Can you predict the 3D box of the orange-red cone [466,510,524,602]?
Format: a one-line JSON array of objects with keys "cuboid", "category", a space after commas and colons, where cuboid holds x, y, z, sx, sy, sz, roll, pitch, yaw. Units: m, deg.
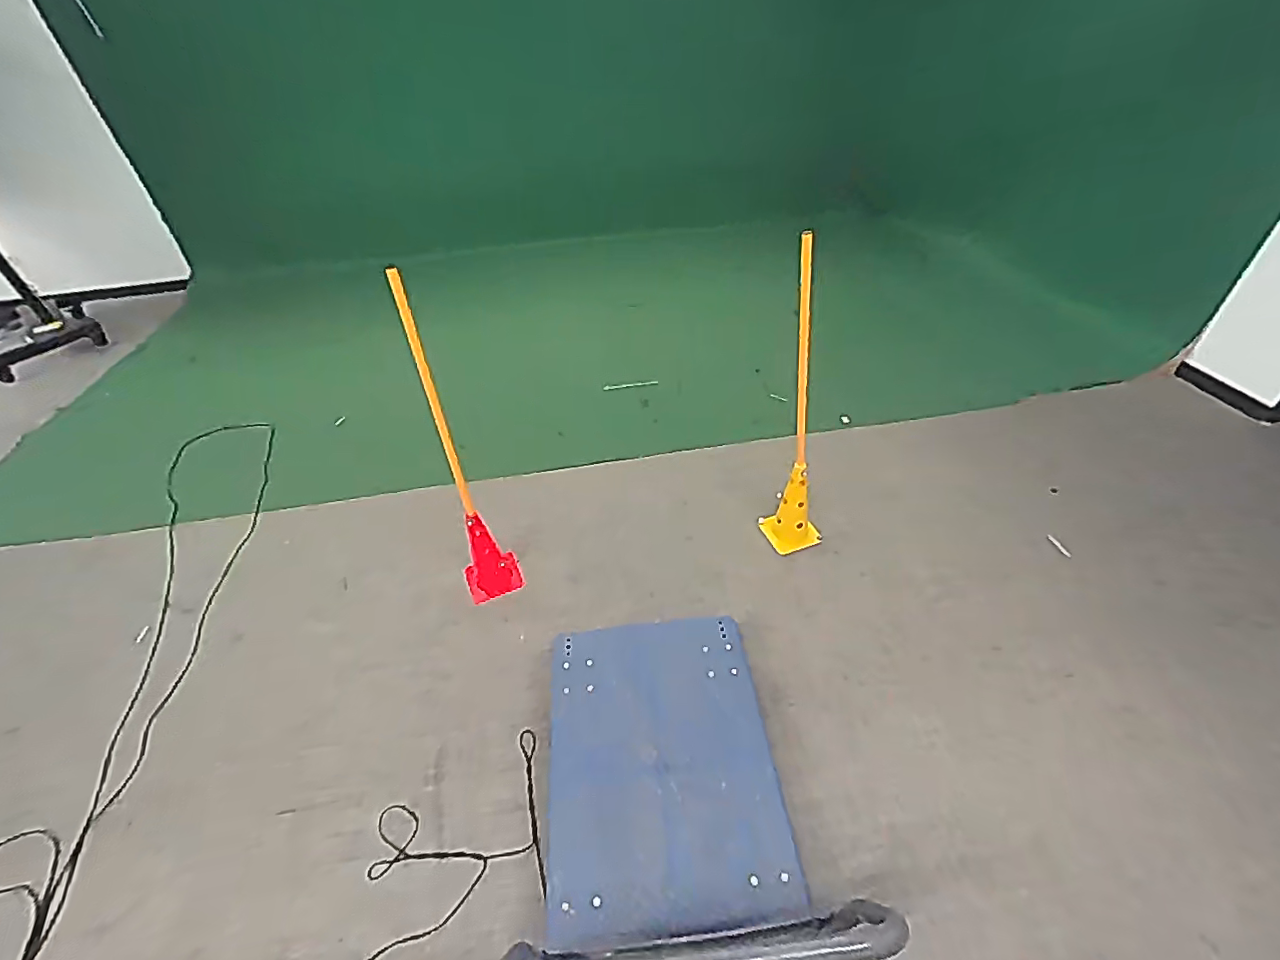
[{"cuboid": [-0.574, 0.248, 1.984, 0.199, 0.360, 0.198, -20, 43, -14], "category": "orange-red cone"}]
